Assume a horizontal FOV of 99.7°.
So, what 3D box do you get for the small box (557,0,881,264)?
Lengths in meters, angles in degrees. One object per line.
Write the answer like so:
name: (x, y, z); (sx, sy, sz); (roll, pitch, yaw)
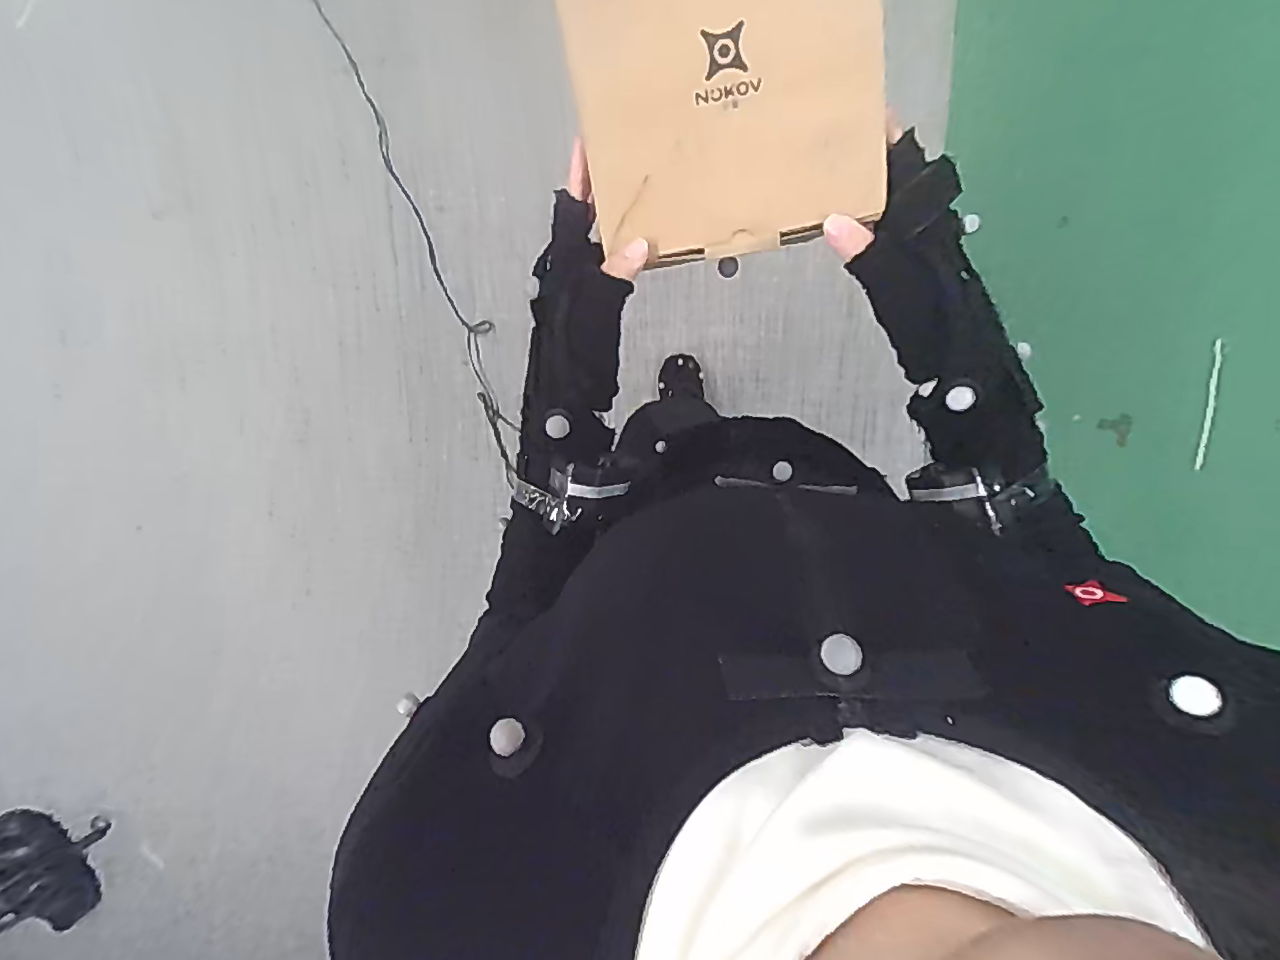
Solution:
small box: (0.048, -0.252, 0.363); (0.168, 0.176, 0.179); (-9, 111, 6)
